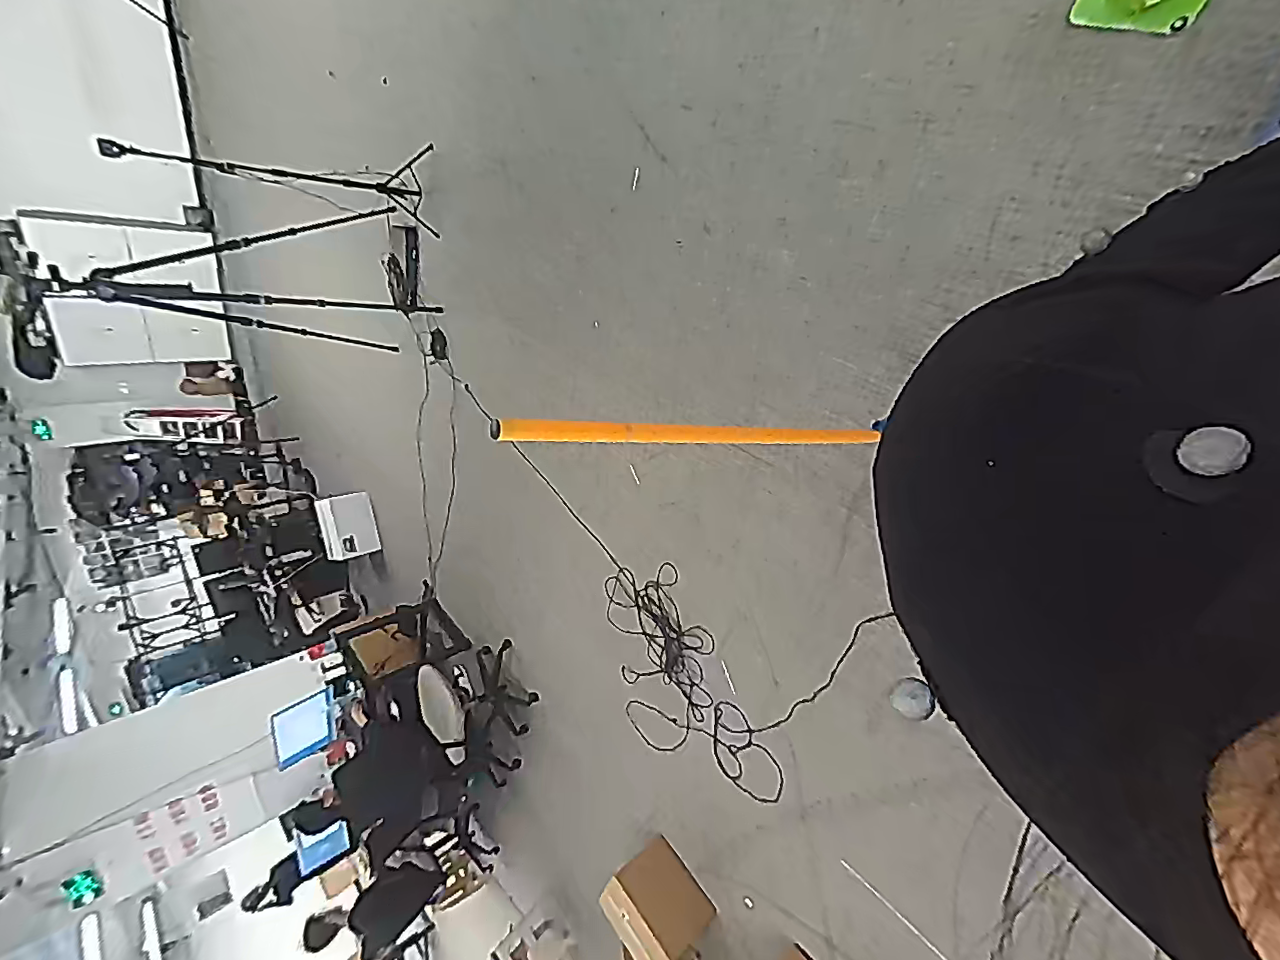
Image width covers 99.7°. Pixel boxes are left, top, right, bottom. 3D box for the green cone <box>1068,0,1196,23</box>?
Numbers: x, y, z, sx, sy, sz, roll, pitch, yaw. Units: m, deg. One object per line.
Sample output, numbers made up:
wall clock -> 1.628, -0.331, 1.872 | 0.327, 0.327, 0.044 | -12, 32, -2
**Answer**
green cone -> 0.796, -0.909, 0.846 | 0.202, 0.368, 0.200 | 40, 128, 33
